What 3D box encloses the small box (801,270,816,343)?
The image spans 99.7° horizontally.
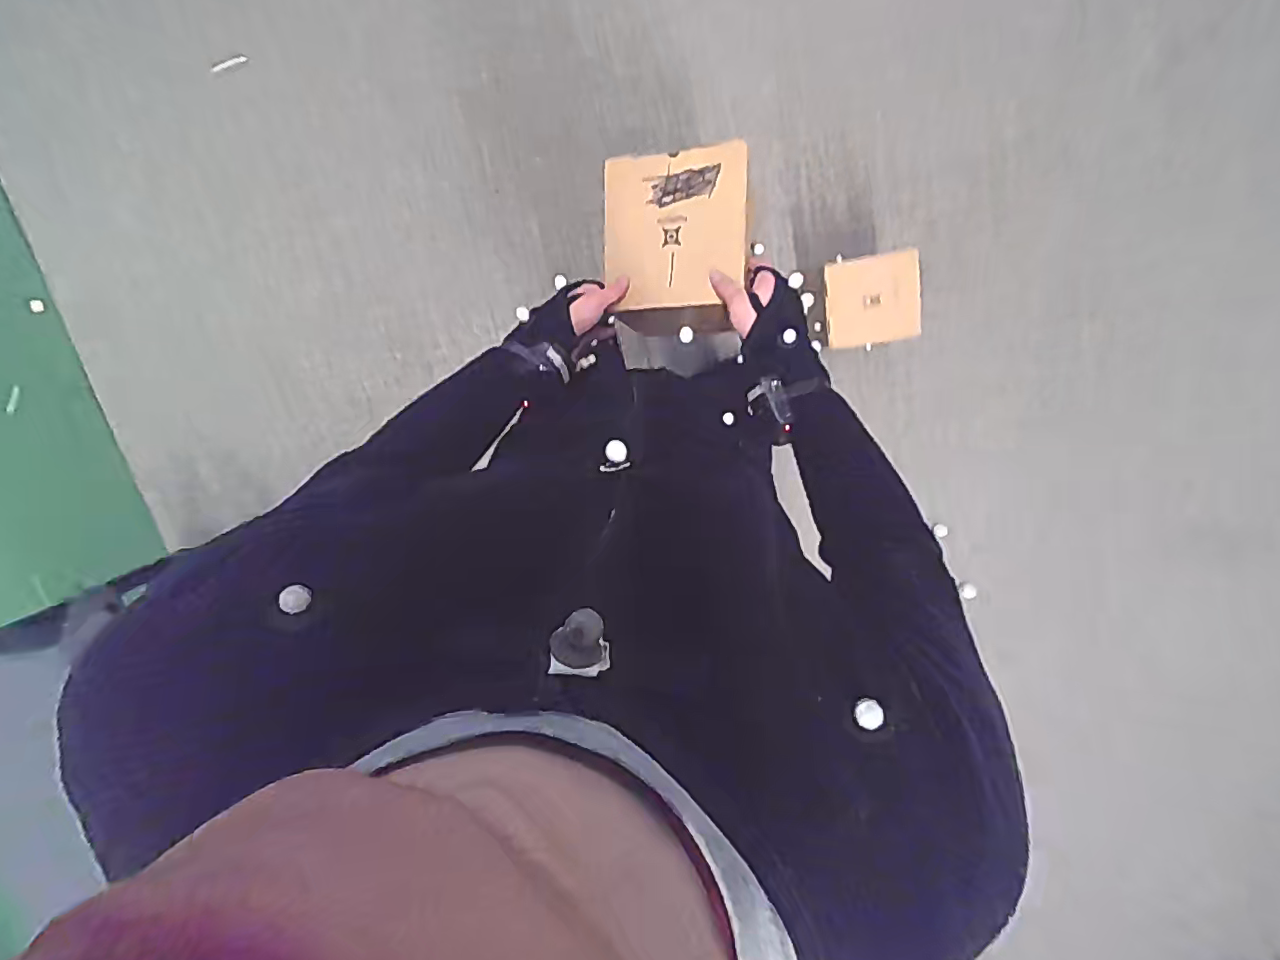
[{"bbox_3d":[0.491,-0.429,1.310,0.179,0.176,0.168,-7,106,11],"label":"small box"}]

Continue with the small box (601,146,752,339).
[{"bbox_3d":[0.054,-0.291,0.702,0.168,0.176,0.179,0,94,17],"label":"small box"}]

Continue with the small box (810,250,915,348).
[{"bbox_3d":[0.466,-0.382,1.156,0.179,0.176,0.168,-8,106,10],"label":"small box"}]
